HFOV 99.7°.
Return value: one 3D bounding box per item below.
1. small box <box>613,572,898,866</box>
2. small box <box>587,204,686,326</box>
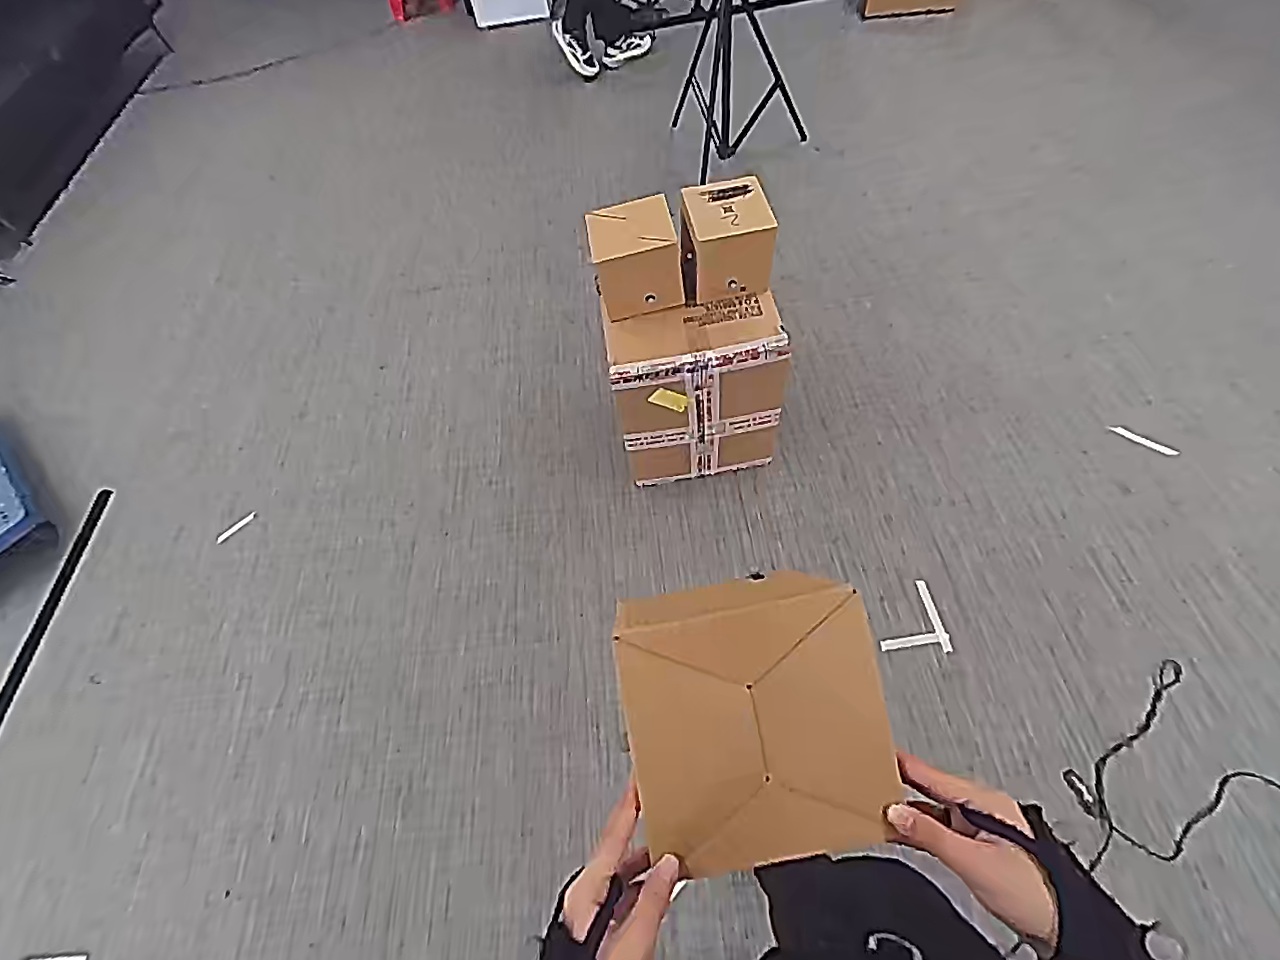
[{"bbox_3d":[0.077,0.177,0.448,0.179,0.176,0.168,-11,85,-1],"label":"small box"},{"bbox_3d":[-0.006,-0.474,1.190,0.179,0.176,0.168,-12,60,4],"label":"small box"}]
